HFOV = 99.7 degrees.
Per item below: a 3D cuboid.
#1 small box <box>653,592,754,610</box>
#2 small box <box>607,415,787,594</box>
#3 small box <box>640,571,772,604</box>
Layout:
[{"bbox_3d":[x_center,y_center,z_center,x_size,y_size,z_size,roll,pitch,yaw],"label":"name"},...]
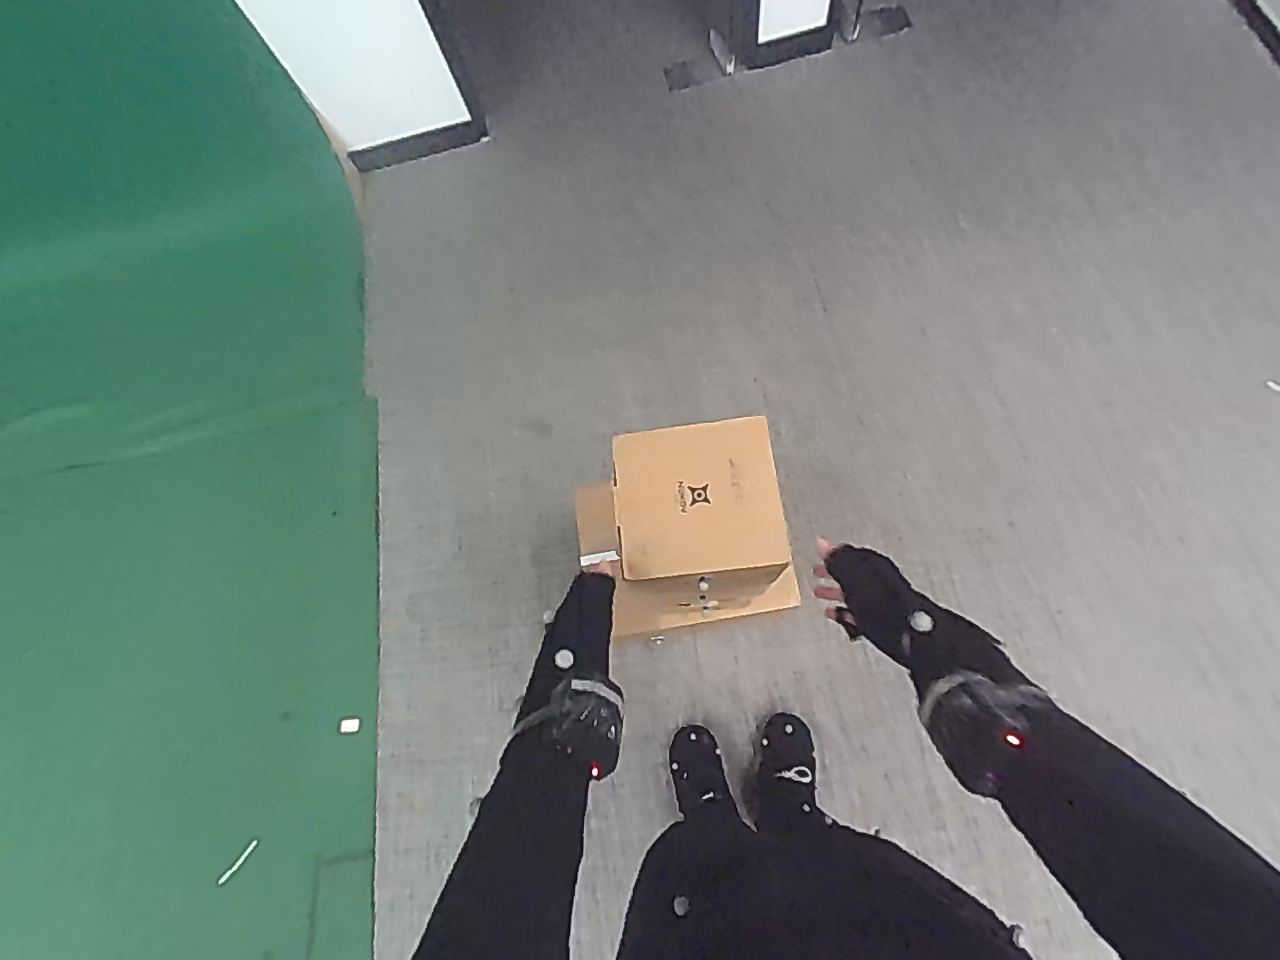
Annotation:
[{"bbox_3d":[0.106,0.136,0.963,0.168,0.176,0.179,-8,72,6],"label":"small box"},{"bbox_3d":[0.067,0.040,0.653,0.179,0.176,0.168,-9,73,5],"label":"small box"},{"bbox_3d":[0.090,0.089,0.806,0.179,0.176,0.168,-9,72,7],"label":"small box"}]
